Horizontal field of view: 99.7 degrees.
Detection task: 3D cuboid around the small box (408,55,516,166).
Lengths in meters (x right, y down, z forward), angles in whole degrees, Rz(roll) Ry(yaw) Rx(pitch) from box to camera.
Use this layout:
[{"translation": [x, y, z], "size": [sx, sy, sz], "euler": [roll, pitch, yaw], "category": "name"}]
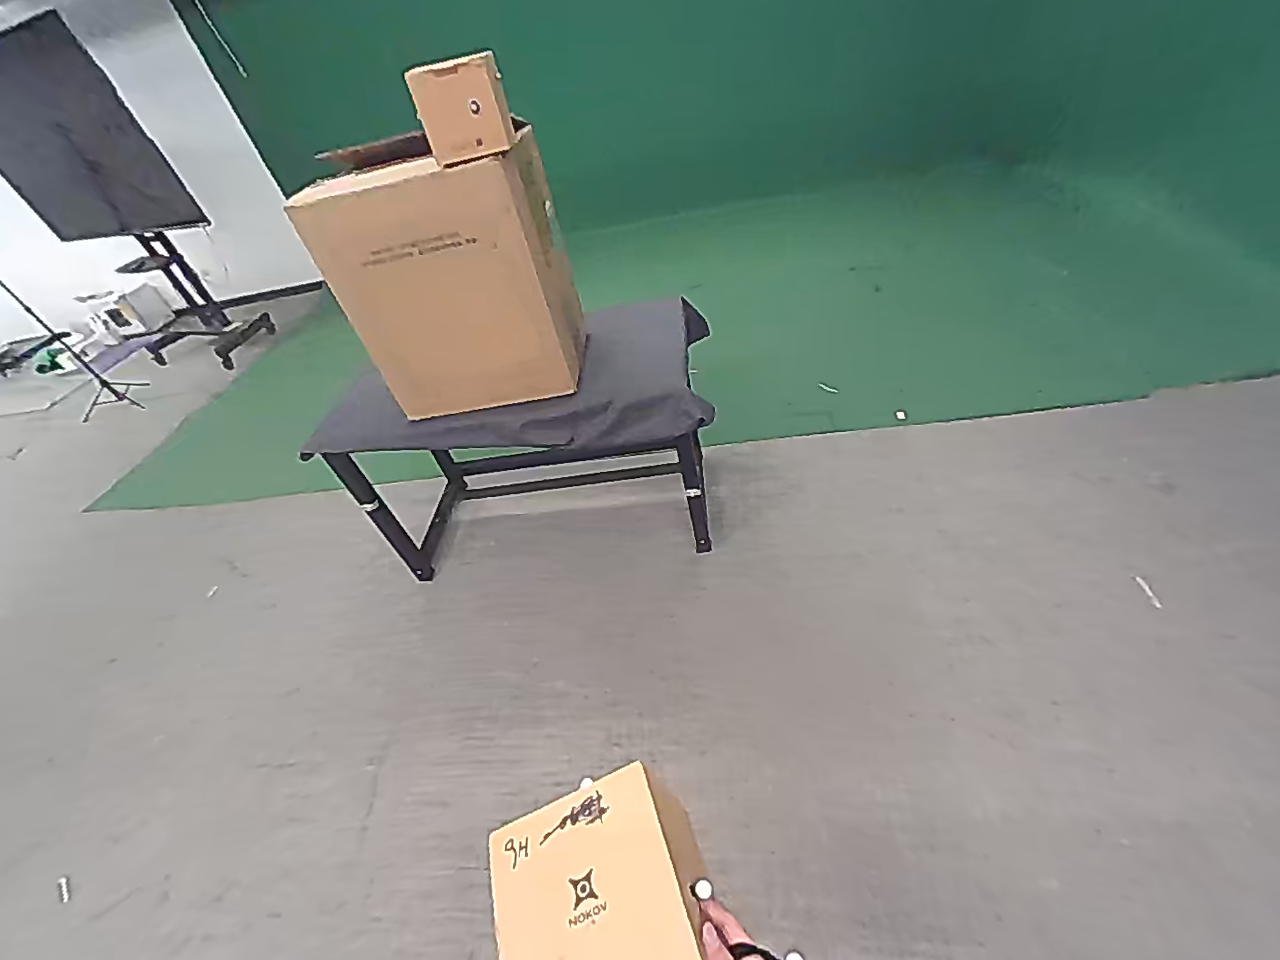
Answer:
[{"translation": [-0.381, -0.812, 1.195], "size": [0.168, 0.176, 0.179], "euler": [-11, 41, 1], "category": "small box"}]
